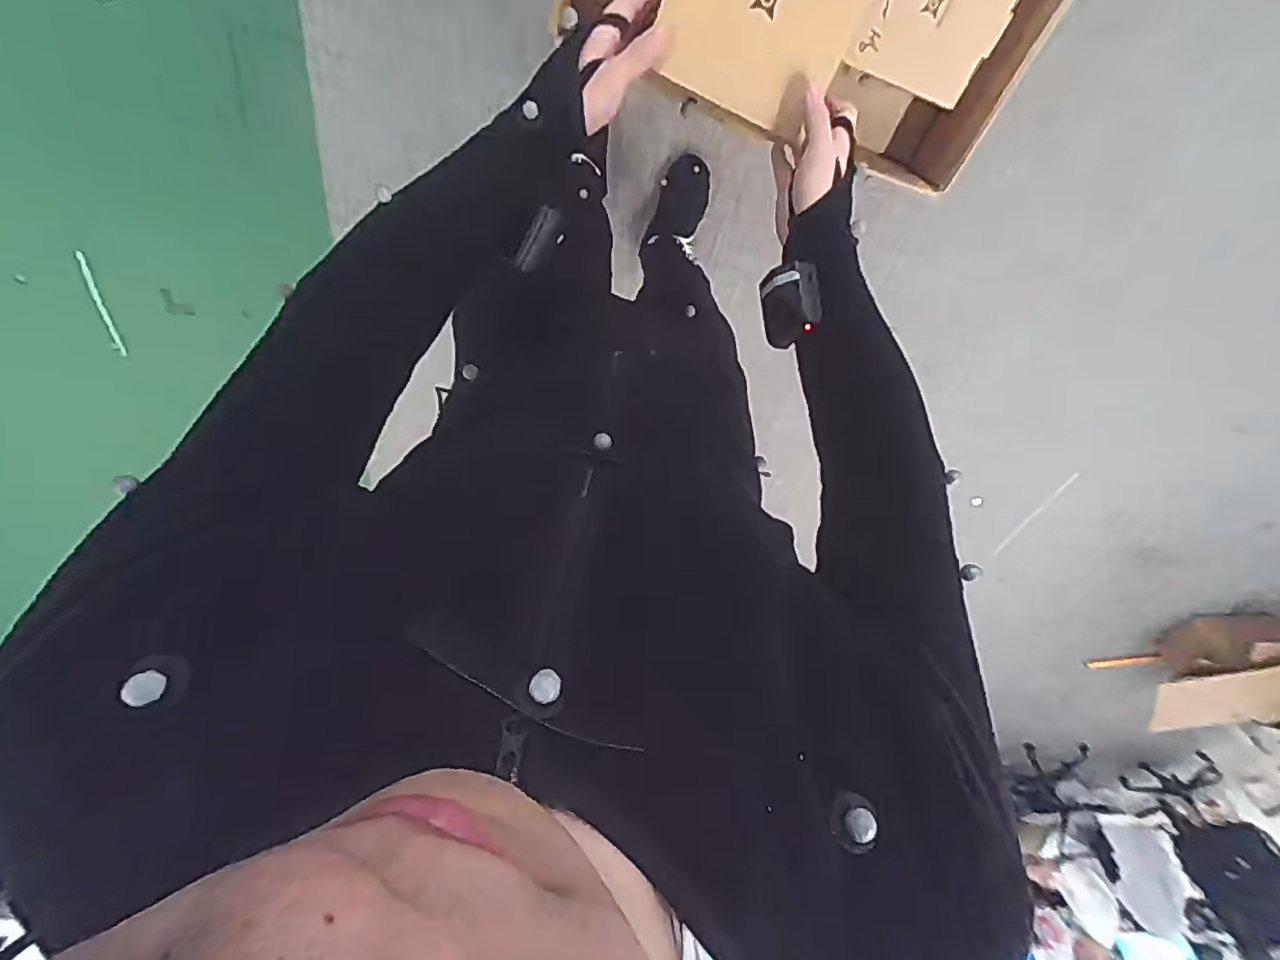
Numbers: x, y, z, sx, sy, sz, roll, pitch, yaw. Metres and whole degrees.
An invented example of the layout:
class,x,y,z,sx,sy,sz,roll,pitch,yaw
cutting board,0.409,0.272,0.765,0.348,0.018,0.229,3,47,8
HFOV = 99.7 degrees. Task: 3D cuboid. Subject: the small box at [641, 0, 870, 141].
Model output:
class,x,y,z,sx,sy,sz,roll,pitch,yaw
small box,0.106,-0.452,0.516,0.168,0.176,0.179,17,119,-14
